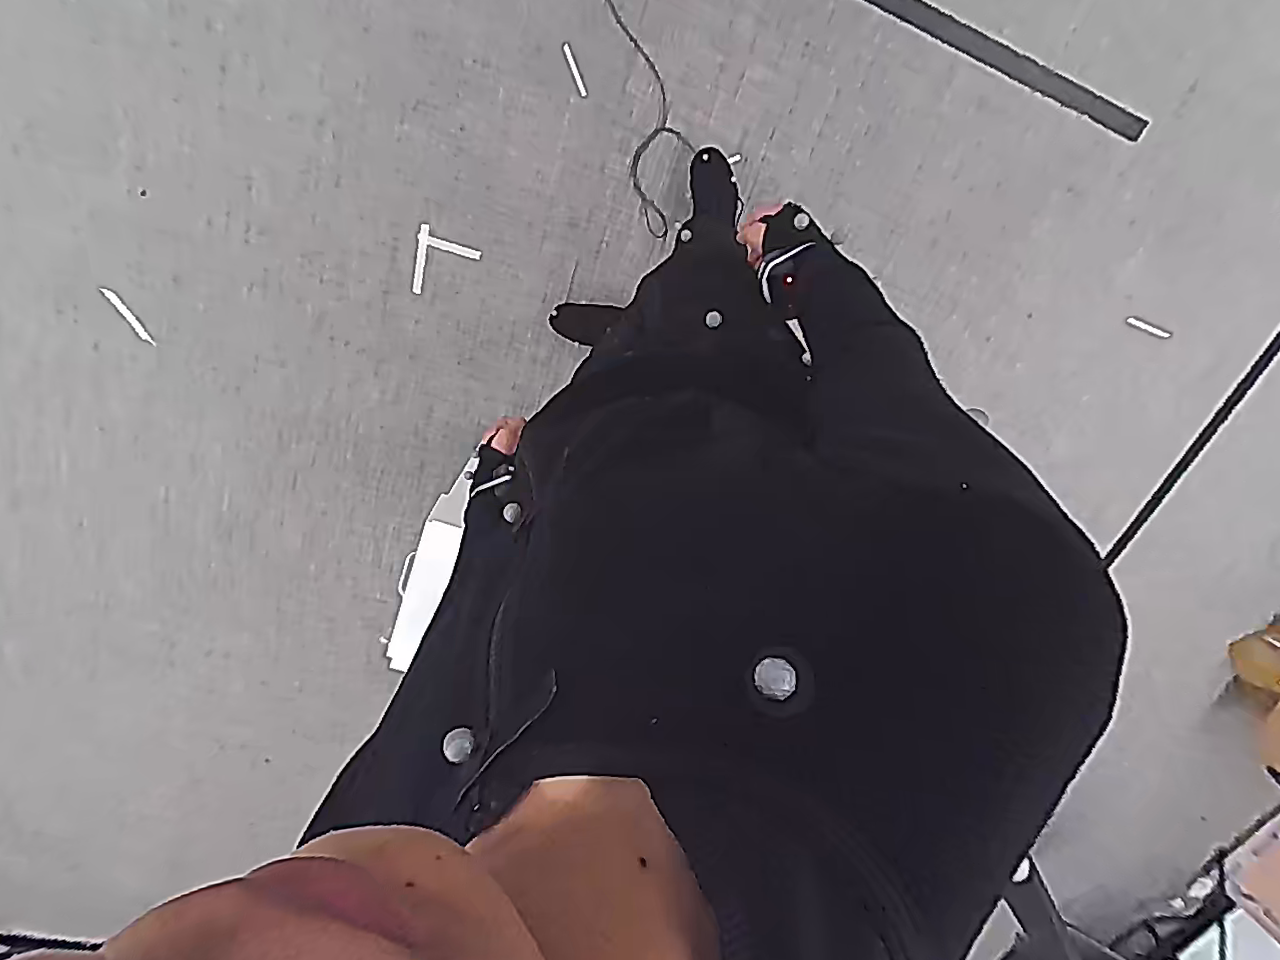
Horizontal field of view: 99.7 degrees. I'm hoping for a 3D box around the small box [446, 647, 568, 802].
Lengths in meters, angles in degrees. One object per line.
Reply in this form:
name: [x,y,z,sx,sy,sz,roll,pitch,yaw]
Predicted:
small box: [-0.225,0.421,0.948,0.168,0.176,0.179,13,113,-9]
